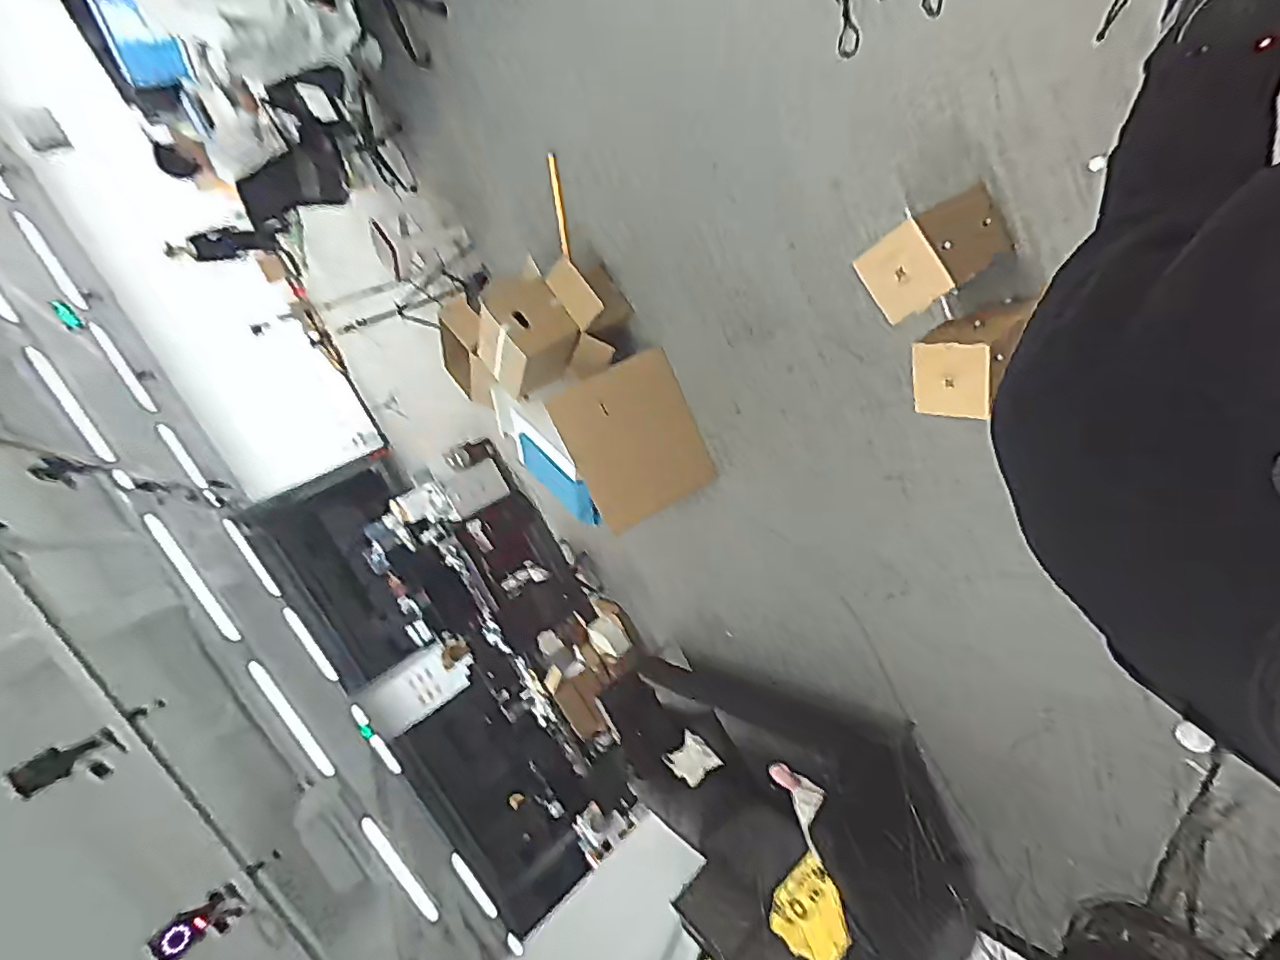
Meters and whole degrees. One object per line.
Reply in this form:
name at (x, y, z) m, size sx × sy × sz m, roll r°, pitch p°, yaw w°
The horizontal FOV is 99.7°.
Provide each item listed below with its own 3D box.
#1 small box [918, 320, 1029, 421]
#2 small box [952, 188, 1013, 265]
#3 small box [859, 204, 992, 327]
small box at (0.771, -0.256, 1.248) m, size 0.168 × 0.176 × 0.179 m, roll 18°, pitch 132°, yaw 52°
small box at (0.756, -0.565, 1.299) m, size 0.168 × 0.176 × 0.179 m, roll 60°, pitch 153°, yaw -4°
small box at (0.643, -0.482, 1.215) m, size 0.179 × 0.176 × 0.168 m, roll 57°, pitch 152°, yaw 0°
